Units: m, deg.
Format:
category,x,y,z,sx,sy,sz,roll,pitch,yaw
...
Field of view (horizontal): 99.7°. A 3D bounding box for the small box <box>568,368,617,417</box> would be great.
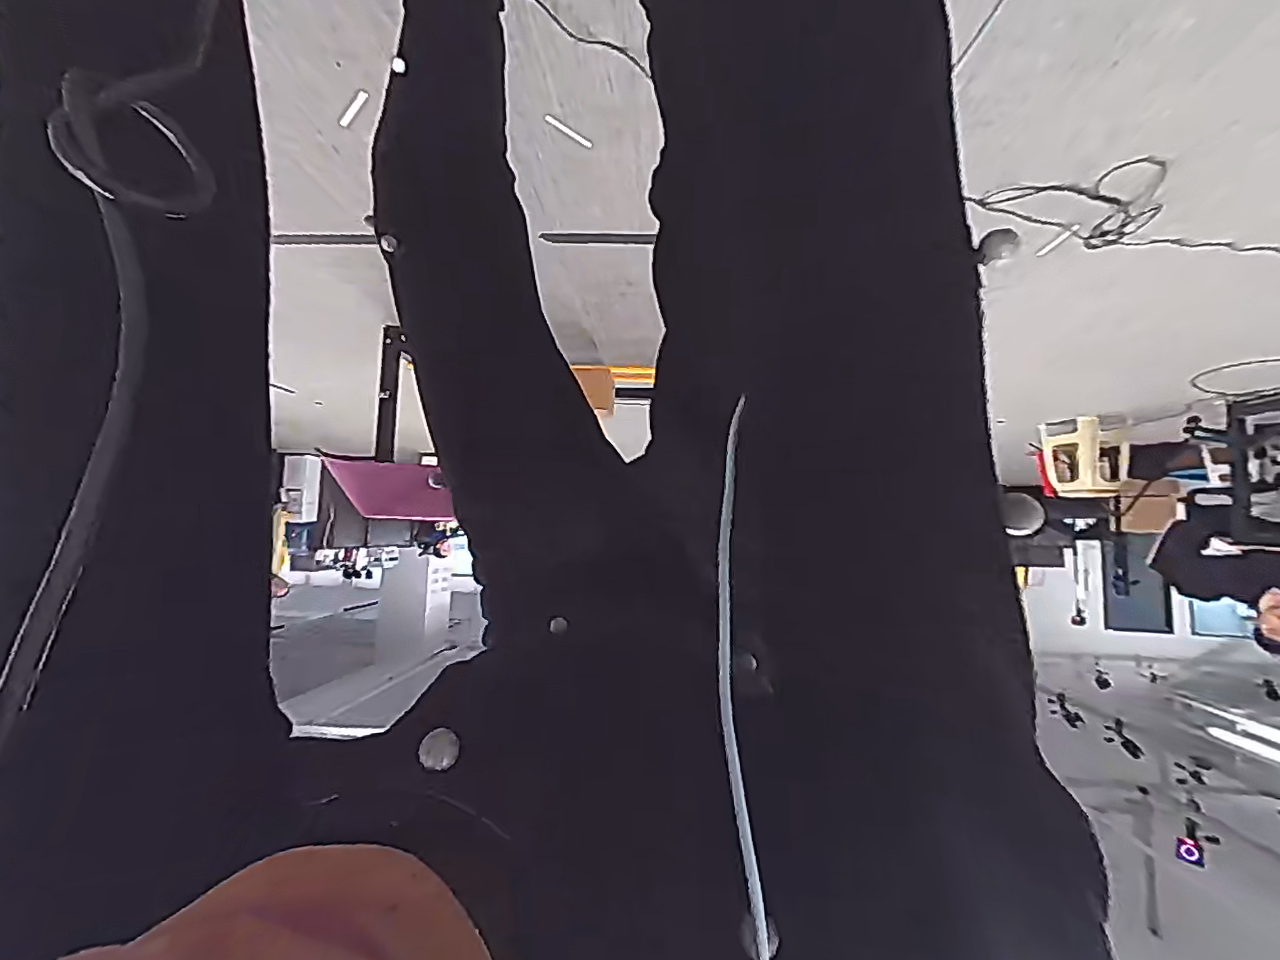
category,x,y,z,sx,sy,sz,roll,pitch,yaw
small box,-0.197,-0.369,2.268,0.179,0.176,0.168,2,175,6
